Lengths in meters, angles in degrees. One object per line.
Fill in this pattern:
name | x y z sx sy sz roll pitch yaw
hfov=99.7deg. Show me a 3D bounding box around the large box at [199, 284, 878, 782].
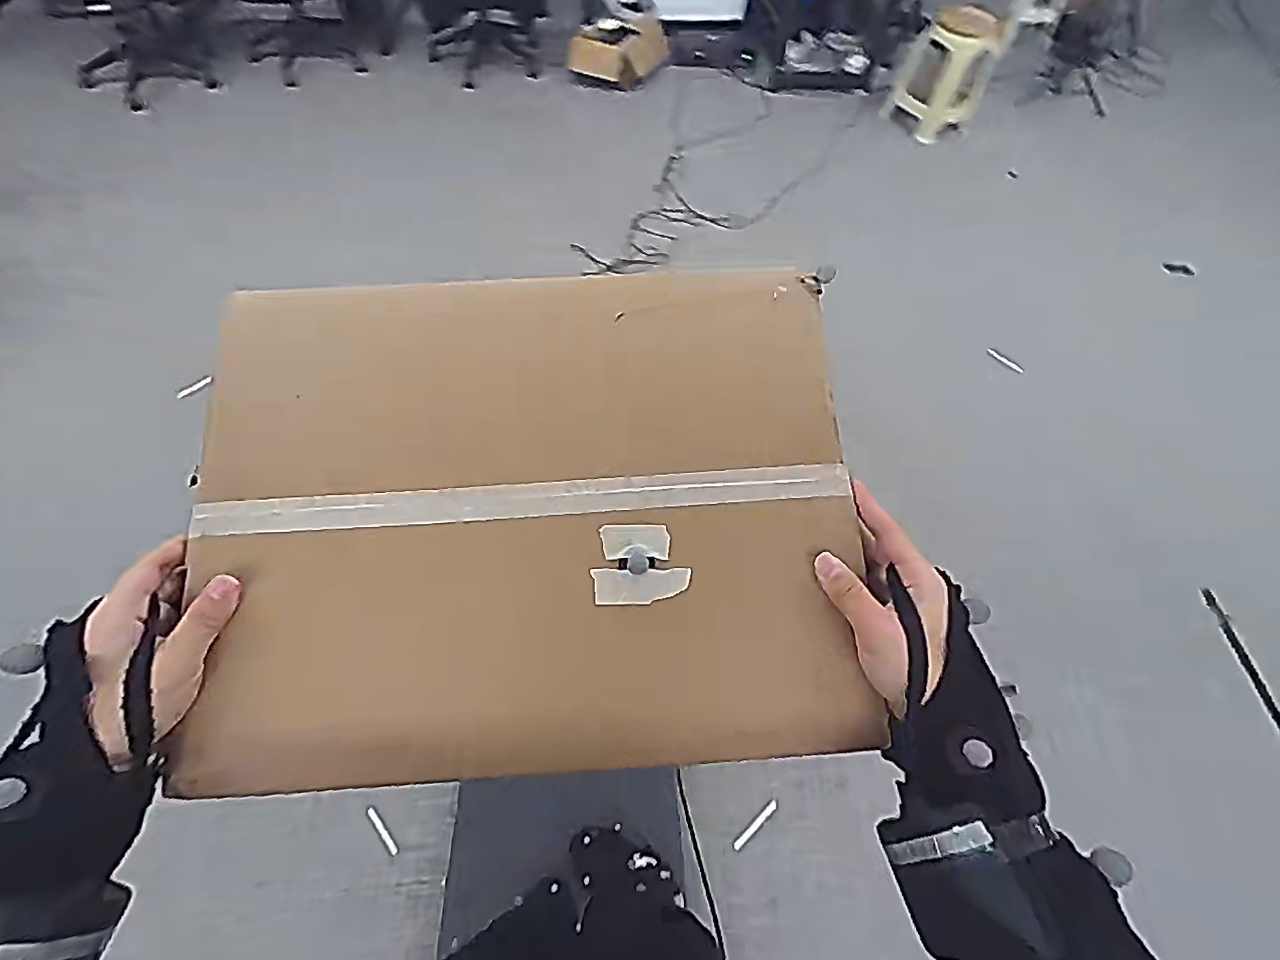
large box | -0.067 0.052 0.494 0.408 0.320 0.320 -2 76 -2
